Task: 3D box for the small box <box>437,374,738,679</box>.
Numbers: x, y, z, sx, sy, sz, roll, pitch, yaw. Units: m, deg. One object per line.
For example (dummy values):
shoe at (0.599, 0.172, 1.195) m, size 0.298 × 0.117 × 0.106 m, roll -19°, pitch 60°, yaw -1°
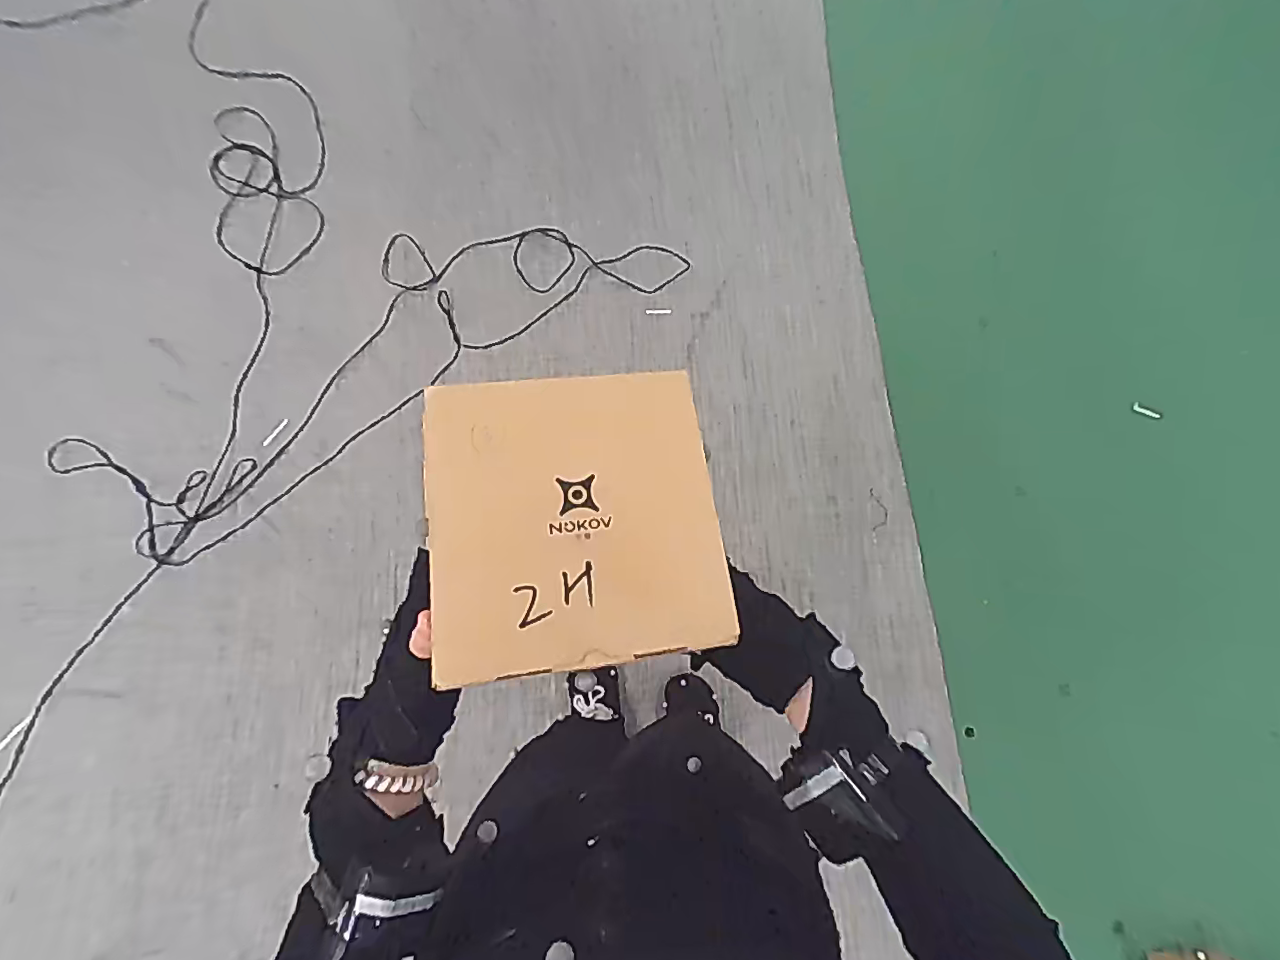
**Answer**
small box at (-0.047, 0.043, 0.393) m, size 0.168 × 0.176 × 0.179 m, roll -5°, pitch 72°, yaw -10°
